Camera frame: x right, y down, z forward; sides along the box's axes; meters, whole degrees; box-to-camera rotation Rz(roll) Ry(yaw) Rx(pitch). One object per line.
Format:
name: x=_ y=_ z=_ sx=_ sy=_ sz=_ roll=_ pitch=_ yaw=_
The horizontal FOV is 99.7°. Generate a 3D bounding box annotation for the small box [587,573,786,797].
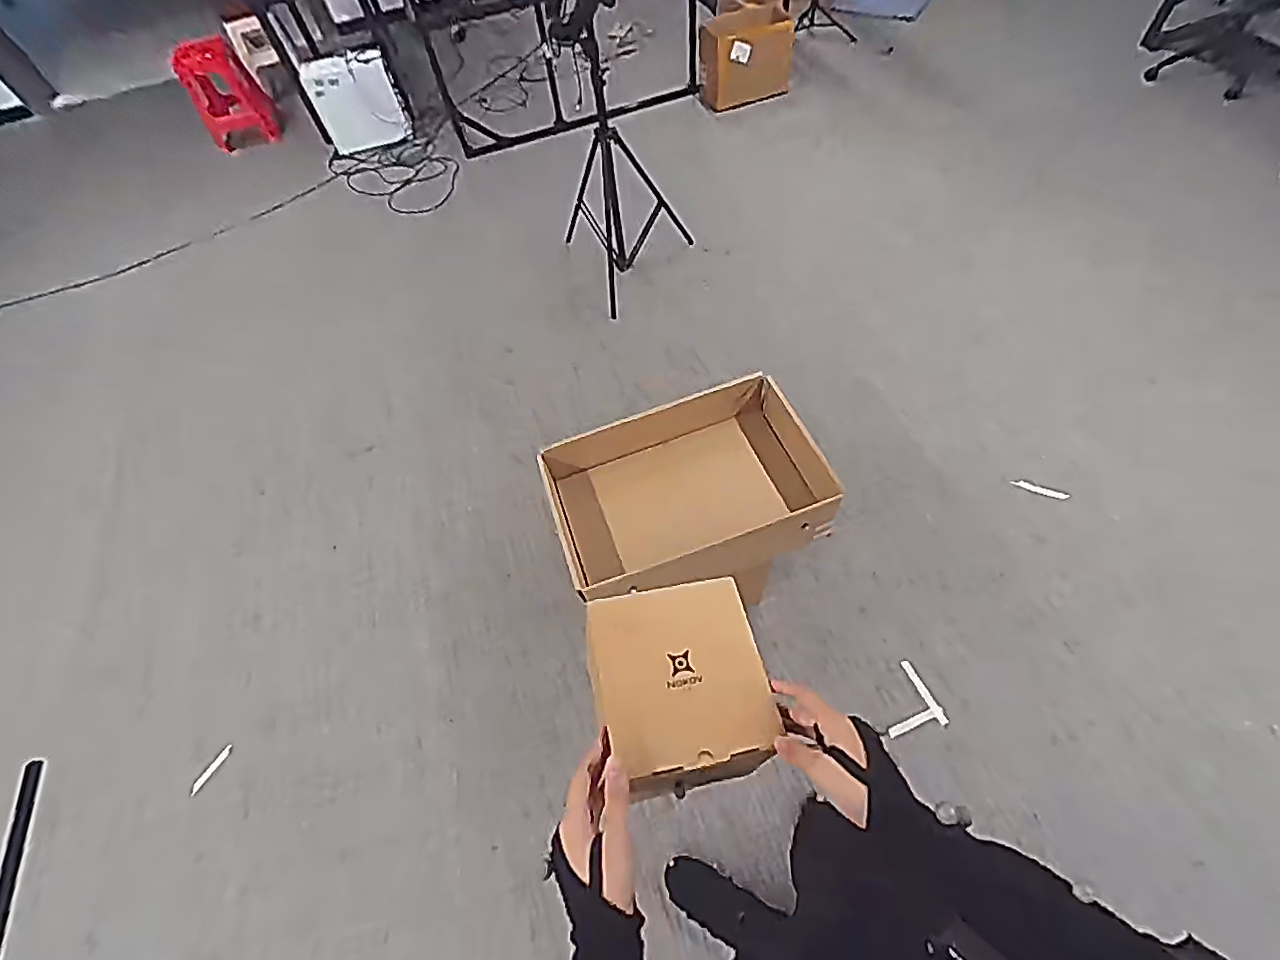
small box: x=0.034 y=0.228 z=0.598 sx=0.168 sy=0.176 sz=0.179 roll=-8 pitch=56 yaw=-10
